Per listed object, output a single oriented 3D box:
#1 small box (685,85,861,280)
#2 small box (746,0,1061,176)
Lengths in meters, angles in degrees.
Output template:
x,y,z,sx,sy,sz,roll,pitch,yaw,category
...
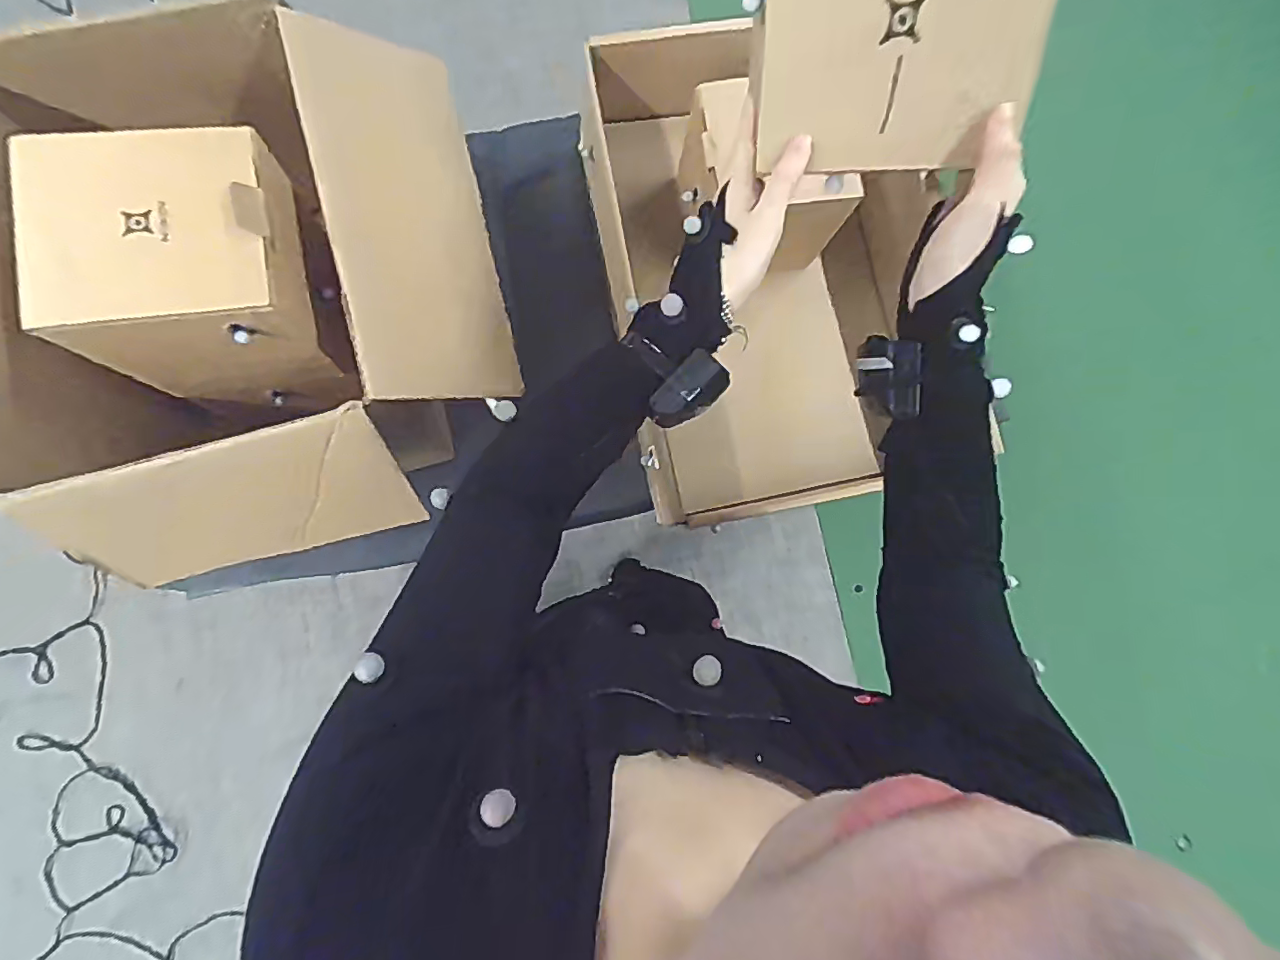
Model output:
x,y,z,sx,sy,sz,roll,pitch,yaw,category
0.160,-0.385,0.718,0.179,0.176,0.168,-10,85,-4,small box
0.165,-0.317,0.381,0.168,0.176,0.179,3,121,7,small box
